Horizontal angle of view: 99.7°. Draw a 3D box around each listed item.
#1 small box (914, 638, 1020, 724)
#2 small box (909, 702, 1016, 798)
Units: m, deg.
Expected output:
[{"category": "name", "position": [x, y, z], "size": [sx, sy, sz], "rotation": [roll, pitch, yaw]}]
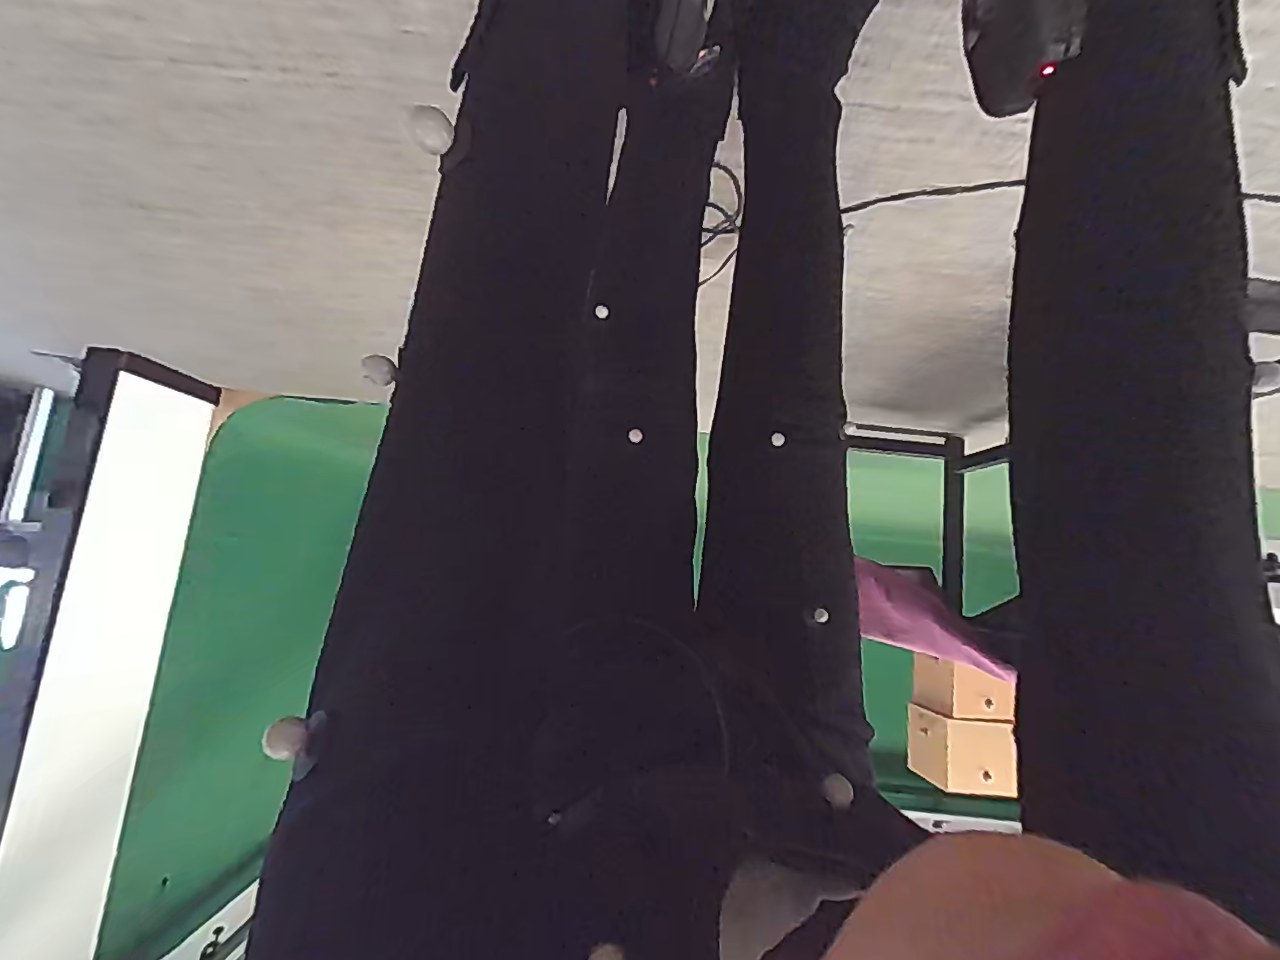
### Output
[{"category": "small box", "position": [0.835, 0.509, 1.387], "size": [0.179, 0.176, 0.168], "rotation": [7, 170, -5]}, {"category": "small box", "position": [0.802, 0.667, 1.354], "size": [0.179, 0.176, 0.168], "rotation": [7, 170, -3]}]
